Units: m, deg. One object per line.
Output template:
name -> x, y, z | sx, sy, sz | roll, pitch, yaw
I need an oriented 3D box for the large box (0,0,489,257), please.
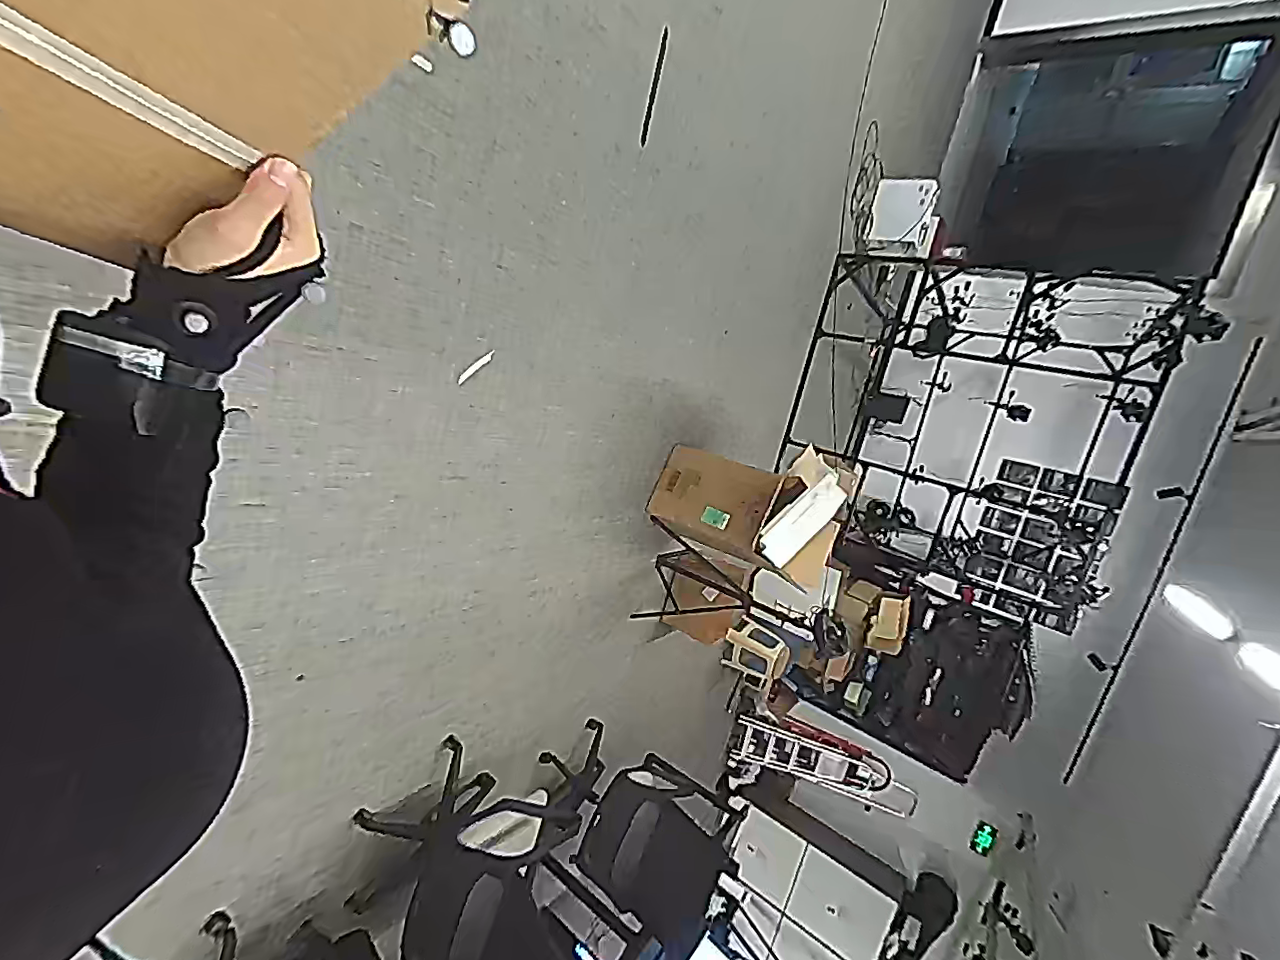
large box -> -0.311, -0.360, 0.181 | 0.408, 0.320, 0.320 | 12, 67, -60
